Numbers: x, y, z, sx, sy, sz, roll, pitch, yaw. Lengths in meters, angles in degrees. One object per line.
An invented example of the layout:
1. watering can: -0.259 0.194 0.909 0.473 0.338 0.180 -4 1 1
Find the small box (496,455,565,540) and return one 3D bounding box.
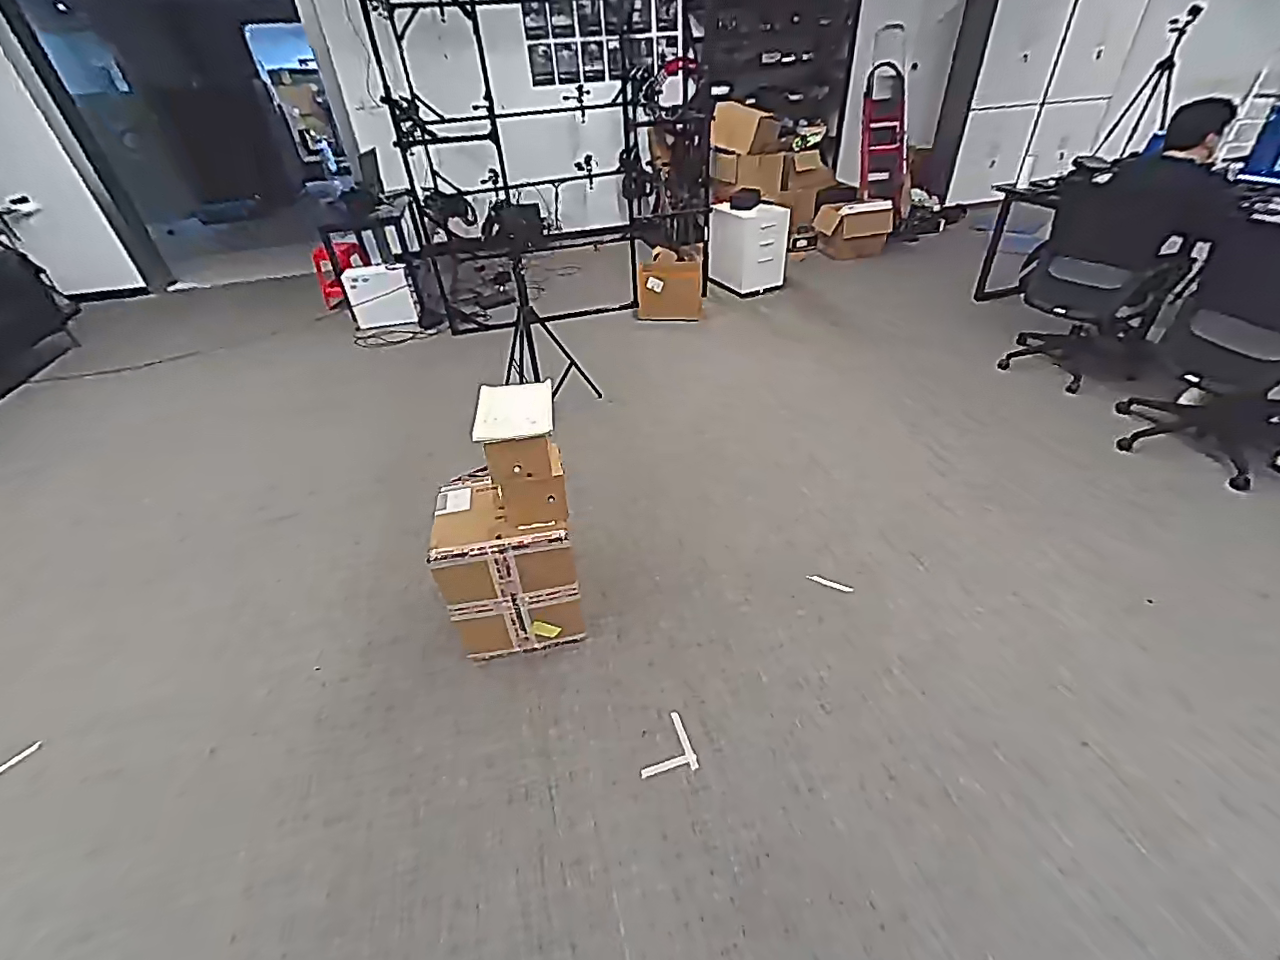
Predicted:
1. small box: -0.315 0.051 1.569 0.179 0.176 0.168 -9 38 -9

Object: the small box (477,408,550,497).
1. small box: -0.336 -0.075 1.463 0.168 0.176 0.179 -6 39 -6
